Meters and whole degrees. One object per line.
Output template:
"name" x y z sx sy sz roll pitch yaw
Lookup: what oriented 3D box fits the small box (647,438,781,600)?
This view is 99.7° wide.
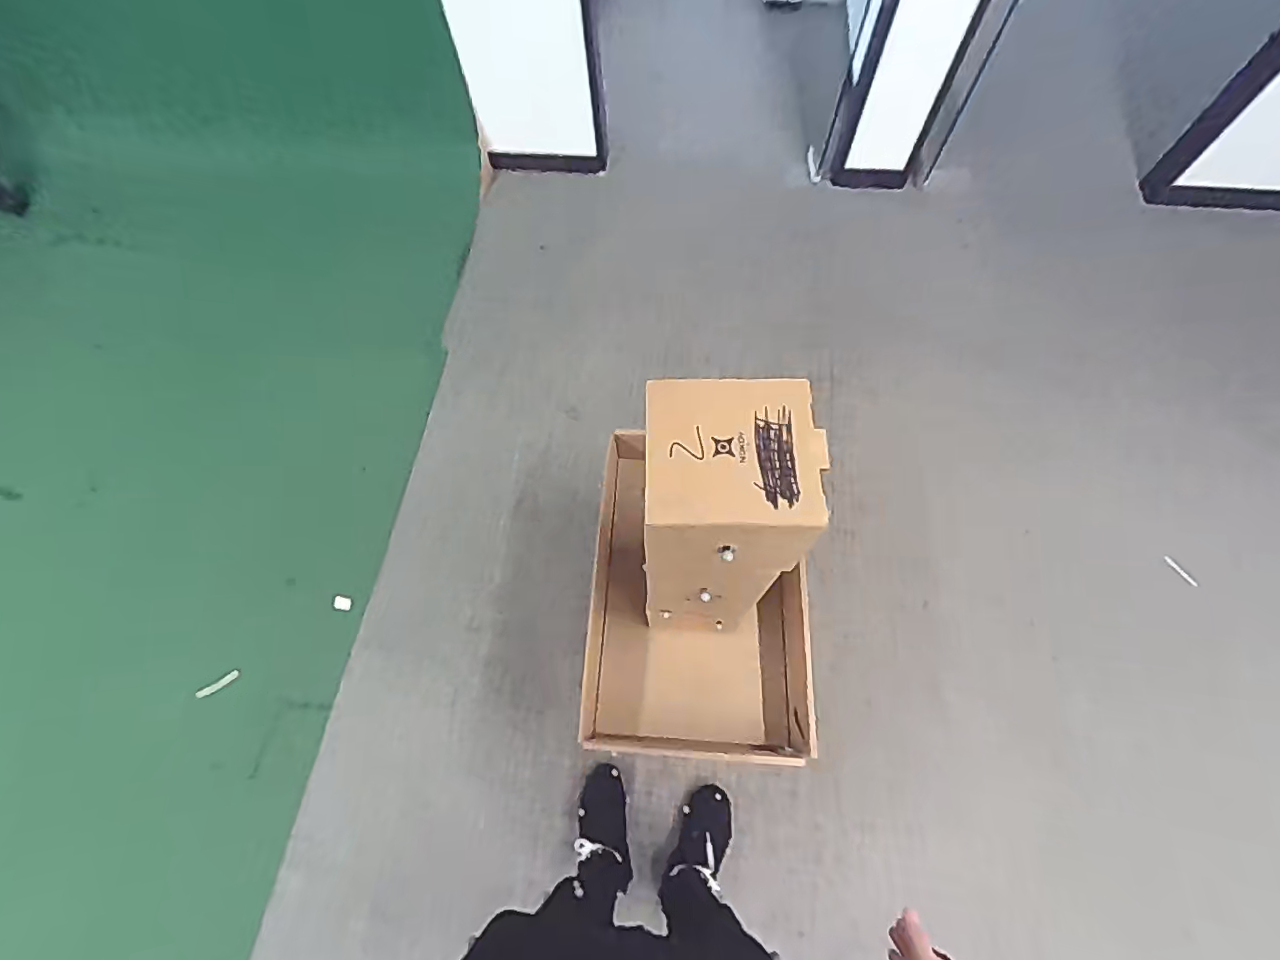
"small box" 0.098 0.060 0.764 0.168 0.176 0.179 3 66 3

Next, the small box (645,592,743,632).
"small box" 0.104 0.200 1.062 0.179 0.176 0.168 3 65 3

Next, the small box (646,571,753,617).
"small box" 0.102 0.127 0.915 0.168 0.176 0.179 5 65 3
